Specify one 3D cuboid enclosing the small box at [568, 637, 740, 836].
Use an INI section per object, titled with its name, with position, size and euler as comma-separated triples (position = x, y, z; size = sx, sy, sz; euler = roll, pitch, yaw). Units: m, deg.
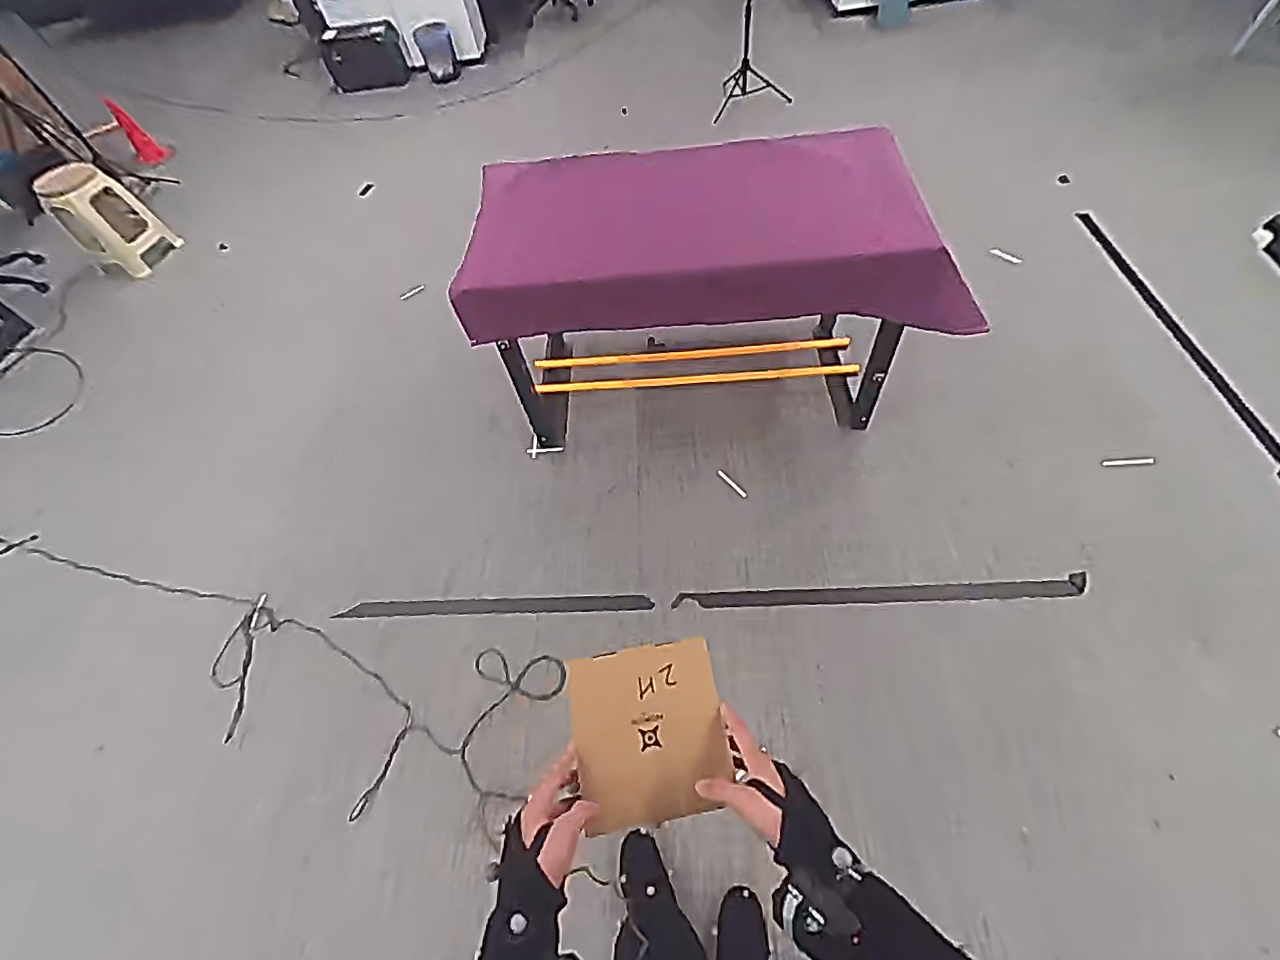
[small box]
position = 0.009, 0.303, 0.656
size = 0.168, 0.176, 0.179
euler = -8, 65, -6
